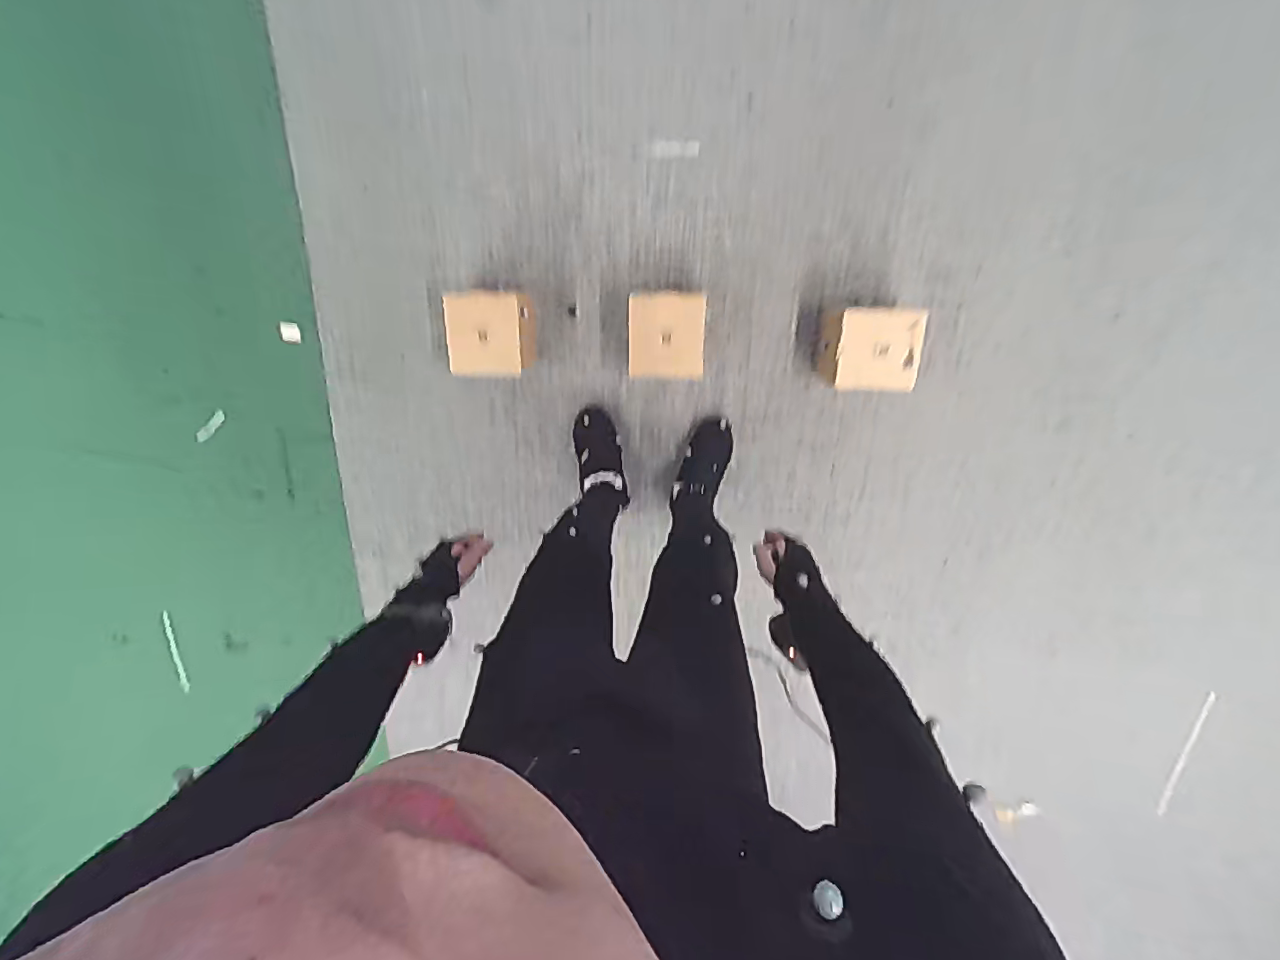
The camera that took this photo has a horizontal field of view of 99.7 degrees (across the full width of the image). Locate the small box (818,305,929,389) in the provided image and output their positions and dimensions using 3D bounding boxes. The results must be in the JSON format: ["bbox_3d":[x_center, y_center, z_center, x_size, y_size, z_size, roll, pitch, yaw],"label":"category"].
[{"bbox_3d":[0.511,-0.302,1.214,0.179,0.176,0.168,2,110,3],"label":"small box"}]

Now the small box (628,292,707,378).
[{"bbox_3d":[0.061,-0.333,1.228,0.168,0.176,0.179,2,110,3],"label":"small box"}]

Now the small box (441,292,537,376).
[{"bbox_3d":[-0.339,-0.340,1.247,0.168,0.176,0.179,1,108,3],"label":"small box"}]
